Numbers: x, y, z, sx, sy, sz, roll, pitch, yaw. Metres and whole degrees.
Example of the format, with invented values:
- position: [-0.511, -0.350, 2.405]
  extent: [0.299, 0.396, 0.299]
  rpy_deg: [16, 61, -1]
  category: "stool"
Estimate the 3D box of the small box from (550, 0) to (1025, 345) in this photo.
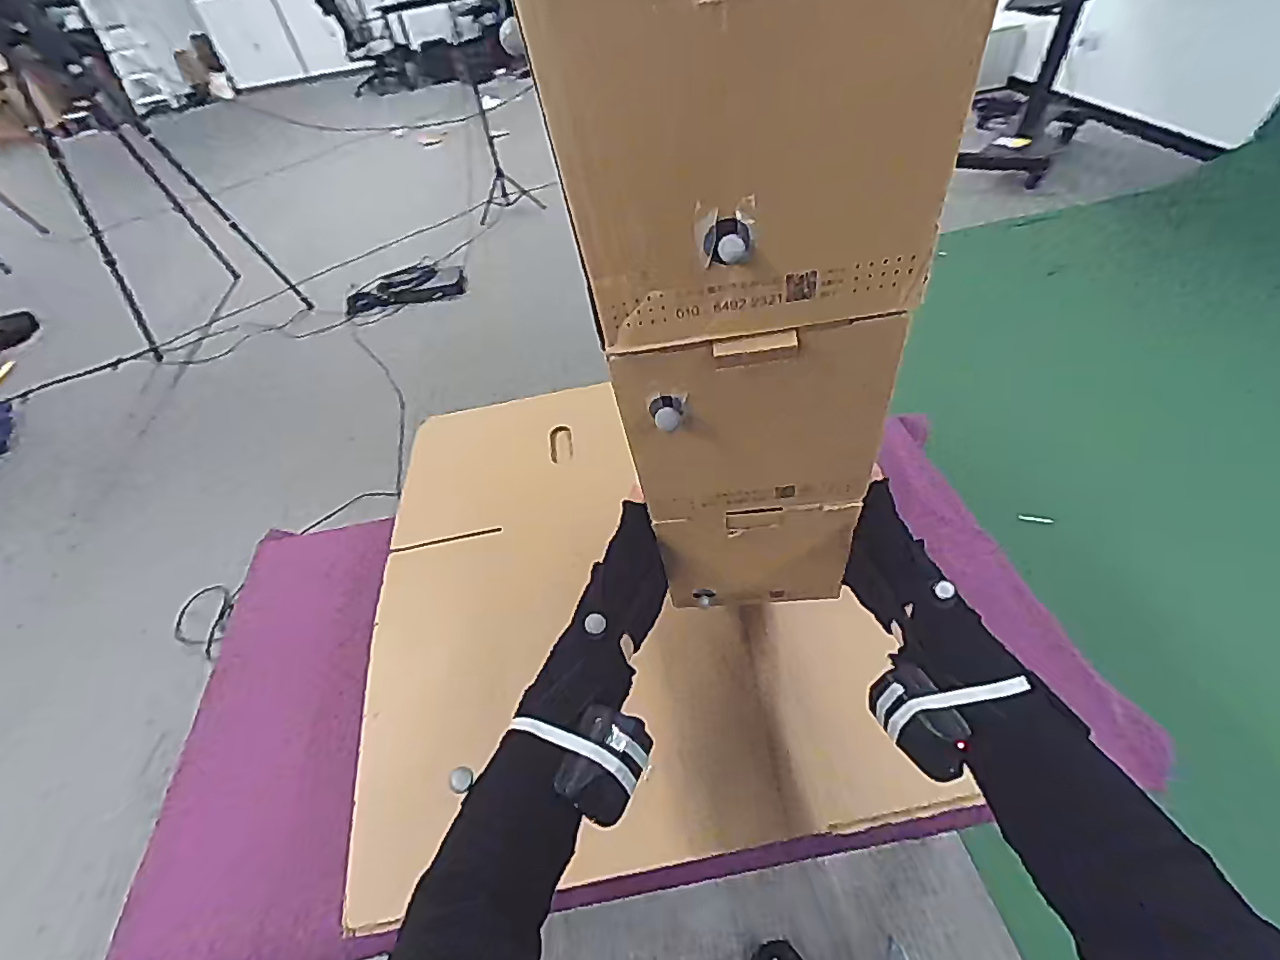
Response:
- position: [0.055, -0.195, 0.277]
  extent: [0.168, 0.176, 0.179]
  rpy_deg: [-7, 52, 6]
  category: "small box"

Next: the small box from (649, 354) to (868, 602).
- position: [0.105, 0.008, 0.529]
  extent: [0.168, 0.176, 0.179]
  rpy_deg: [-8, 54, 6]
  category: "small box"
